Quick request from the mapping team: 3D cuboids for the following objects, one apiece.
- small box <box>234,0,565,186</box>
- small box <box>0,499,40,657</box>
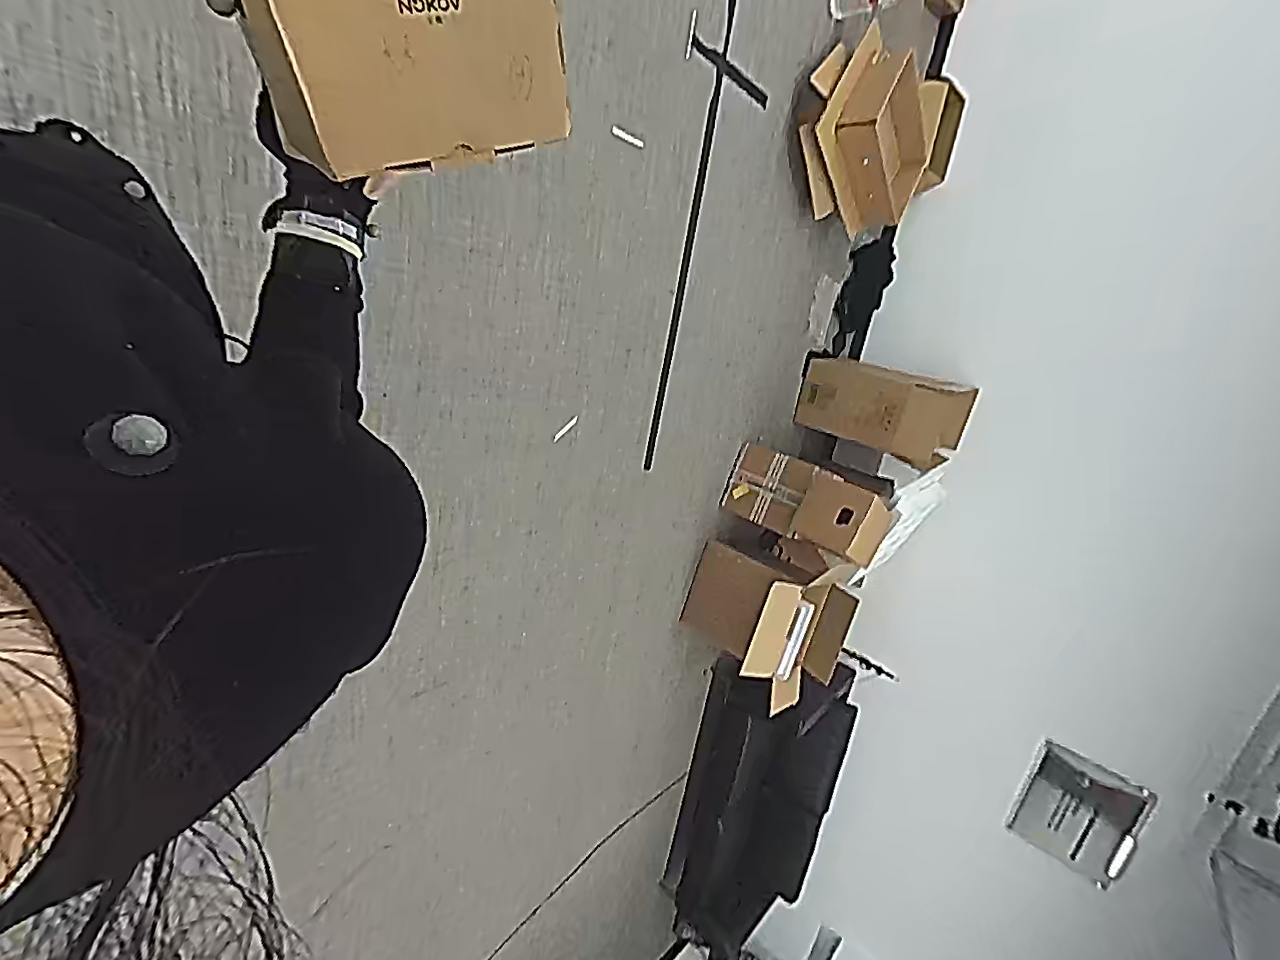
[{"bbox_3d":[-0.169,-0.321,0.361,0.168,0.176,0.179,-26,136,-24],"label":"small box"},{"bbox_3d":[-0.853,0.118,0.633,0.168,0.176,0.179,-17,122,-43],"label":"small box"}]
